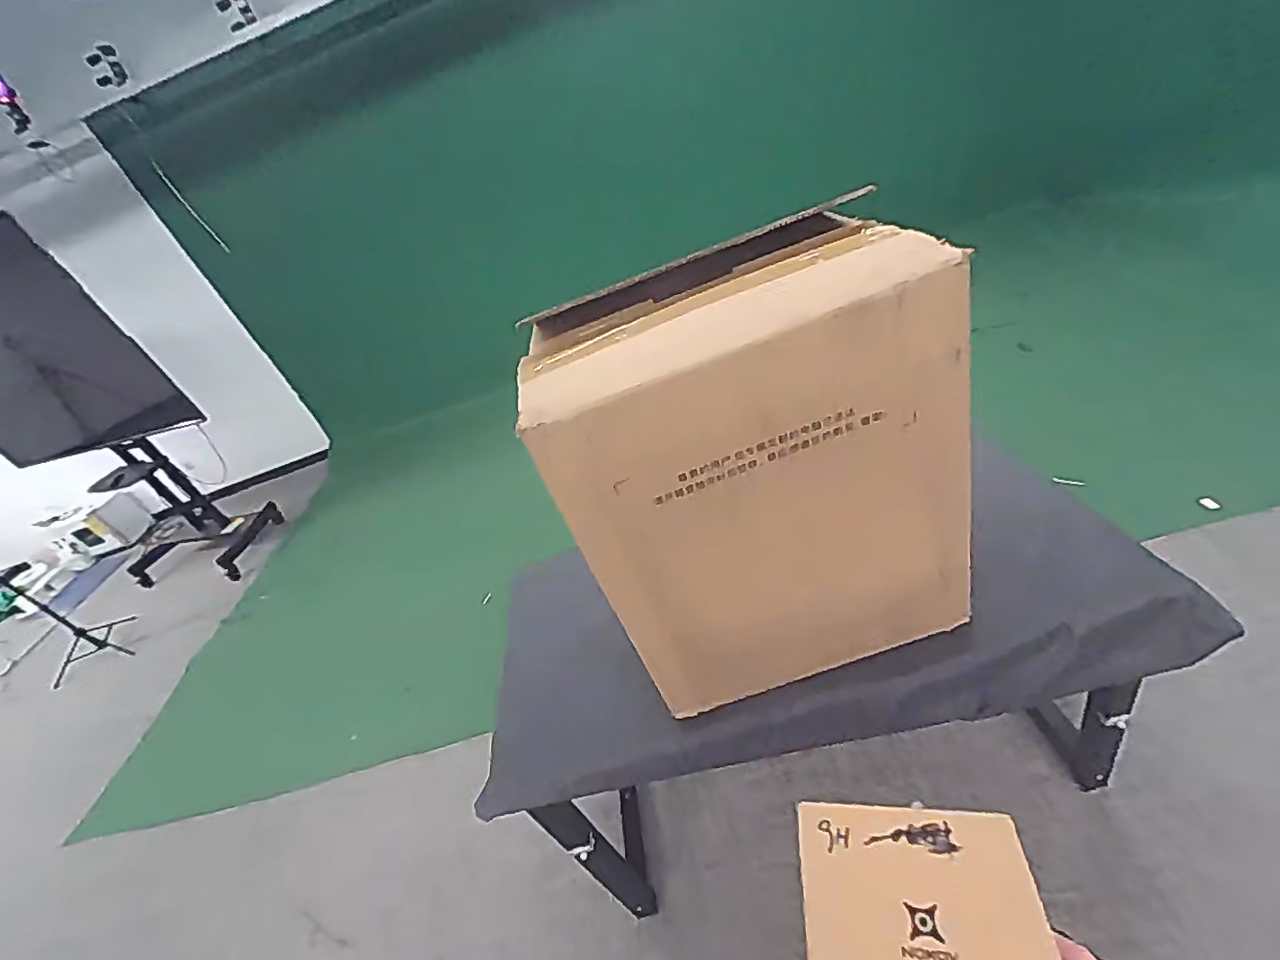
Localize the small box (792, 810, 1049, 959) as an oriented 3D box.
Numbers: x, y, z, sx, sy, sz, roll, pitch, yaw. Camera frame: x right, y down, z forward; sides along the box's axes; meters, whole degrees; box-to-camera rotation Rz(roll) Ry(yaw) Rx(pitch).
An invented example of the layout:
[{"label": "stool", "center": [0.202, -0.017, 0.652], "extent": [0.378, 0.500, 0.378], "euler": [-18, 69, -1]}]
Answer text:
[{"label": "small box", "center": [0.218, 0.395, 0.430], "extent": [0.168, 0.176, 0.179], "euler": [-6, 36, 14]}]
